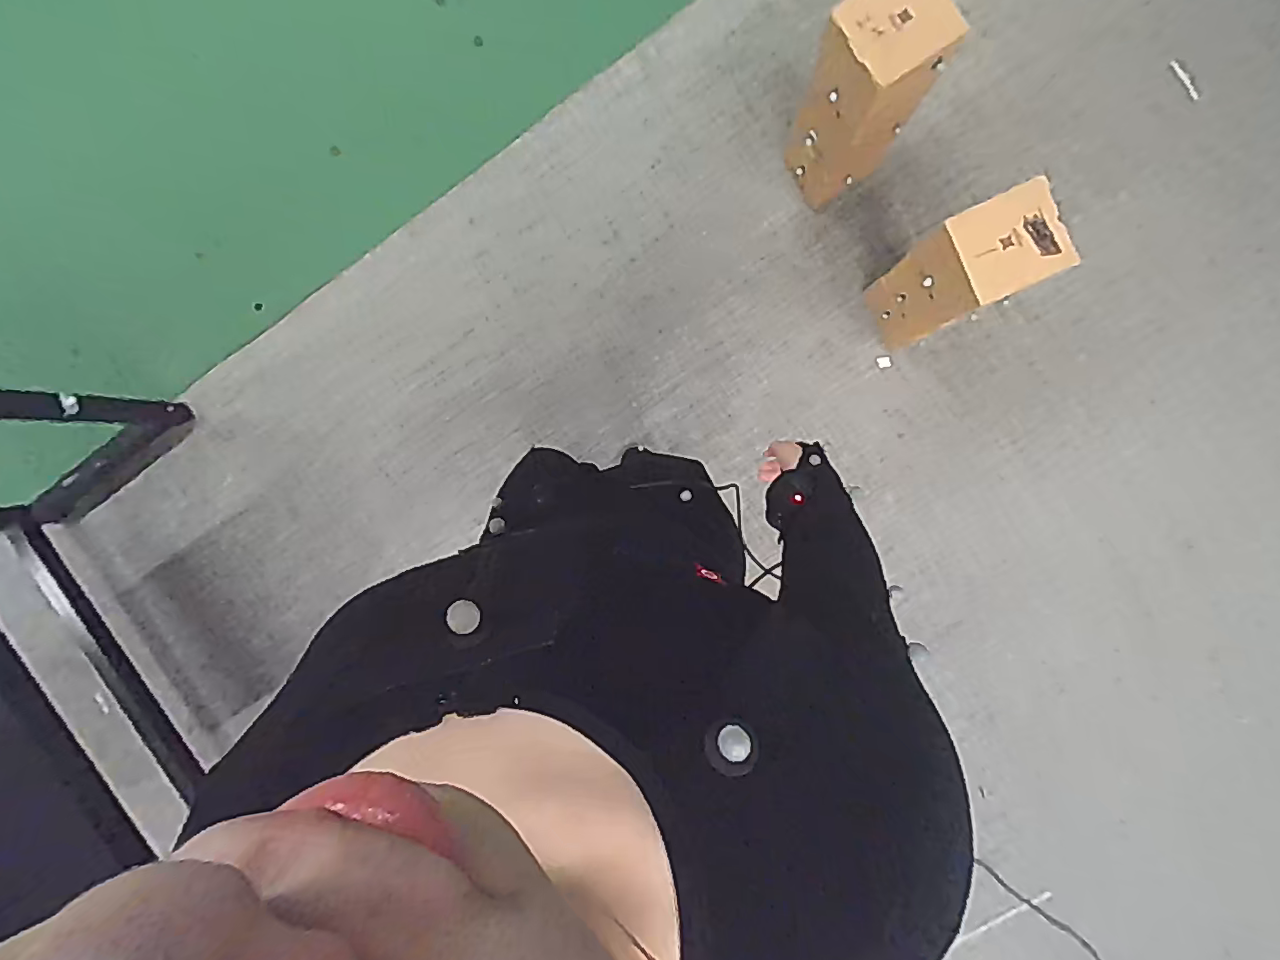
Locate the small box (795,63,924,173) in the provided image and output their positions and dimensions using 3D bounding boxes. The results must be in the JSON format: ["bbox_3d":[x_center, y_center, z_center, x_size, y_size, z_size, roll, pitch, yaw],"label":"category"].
[{"bbox_3d":[0.459,-0.811,1.159,0.179,0.176,0.168,-32,90,8],"label":"small box"}]

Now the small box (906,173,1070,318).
[{"bbox_3d":[0.637,-0.425,1.012,0.179,0.176,0.168,-24,93,8],"label":"small box"}]

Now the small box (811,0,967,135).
[{"bbox_3d":[0.443,-0.794,0.996,0.179,0.176,0.168,-32,90,6],"label":"small box"}]

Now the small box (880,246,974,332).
[{"bbox_3d":[0.659,-0.443,1.174,0.179,0.176,0.168,-25,92,7],"label":"small box"}]

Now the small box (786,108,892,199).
[{"bbox_3d":[0.472,-0.828,1.320,0.179,0.176,0.168,-29,92,7],"label":"small box"}]
